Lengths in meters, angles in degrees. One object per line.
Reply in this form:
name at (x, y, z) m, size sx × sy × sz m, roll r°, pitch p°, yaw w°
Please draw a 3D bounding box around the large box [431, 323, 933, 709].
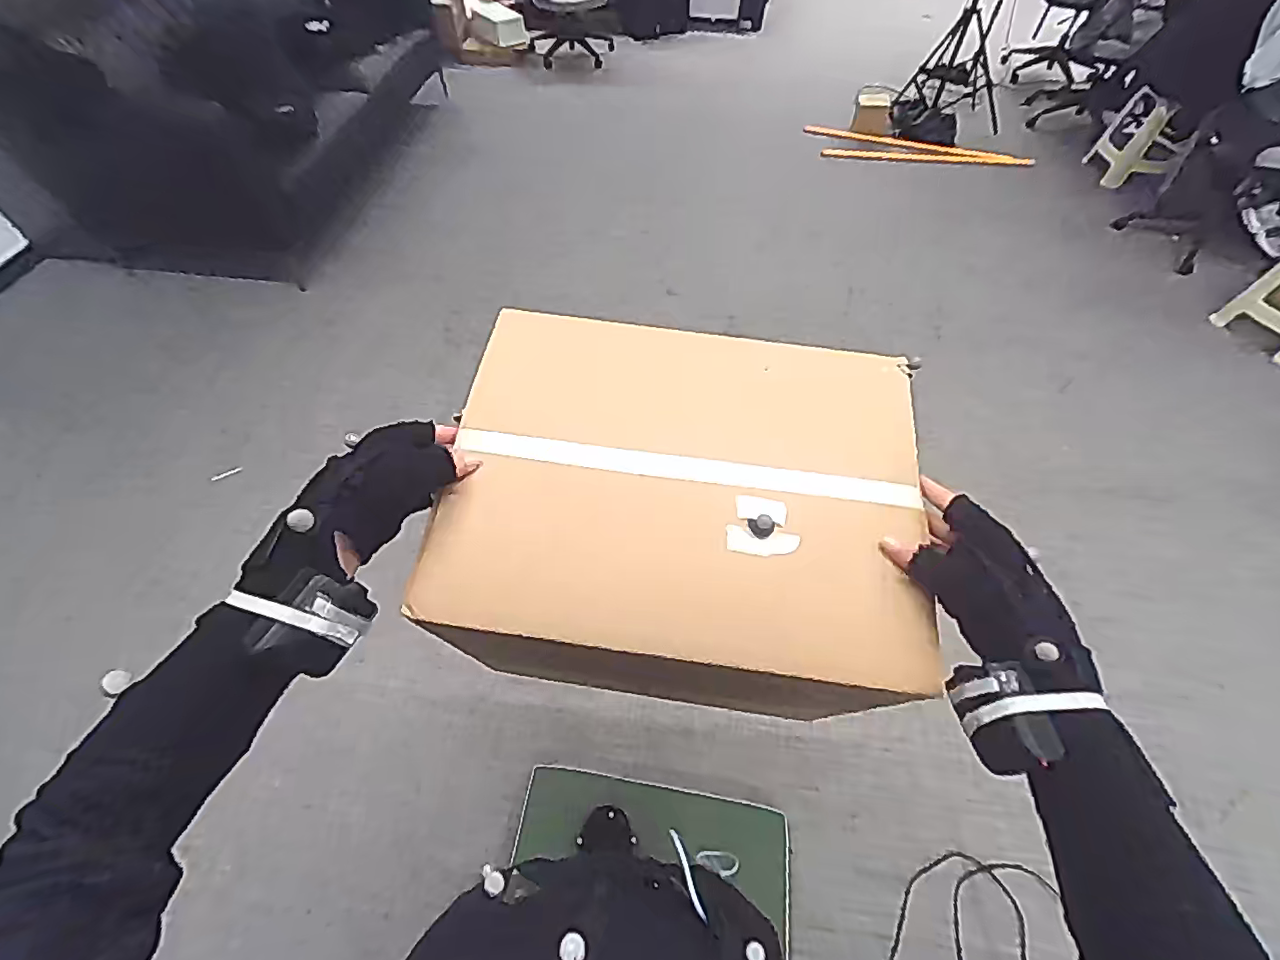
large box at (0.041, 0.062, 0.618) m, size 0.408 × 0.320 × 0.320 m, roll 8°, pitch 64°, yaw 2°
